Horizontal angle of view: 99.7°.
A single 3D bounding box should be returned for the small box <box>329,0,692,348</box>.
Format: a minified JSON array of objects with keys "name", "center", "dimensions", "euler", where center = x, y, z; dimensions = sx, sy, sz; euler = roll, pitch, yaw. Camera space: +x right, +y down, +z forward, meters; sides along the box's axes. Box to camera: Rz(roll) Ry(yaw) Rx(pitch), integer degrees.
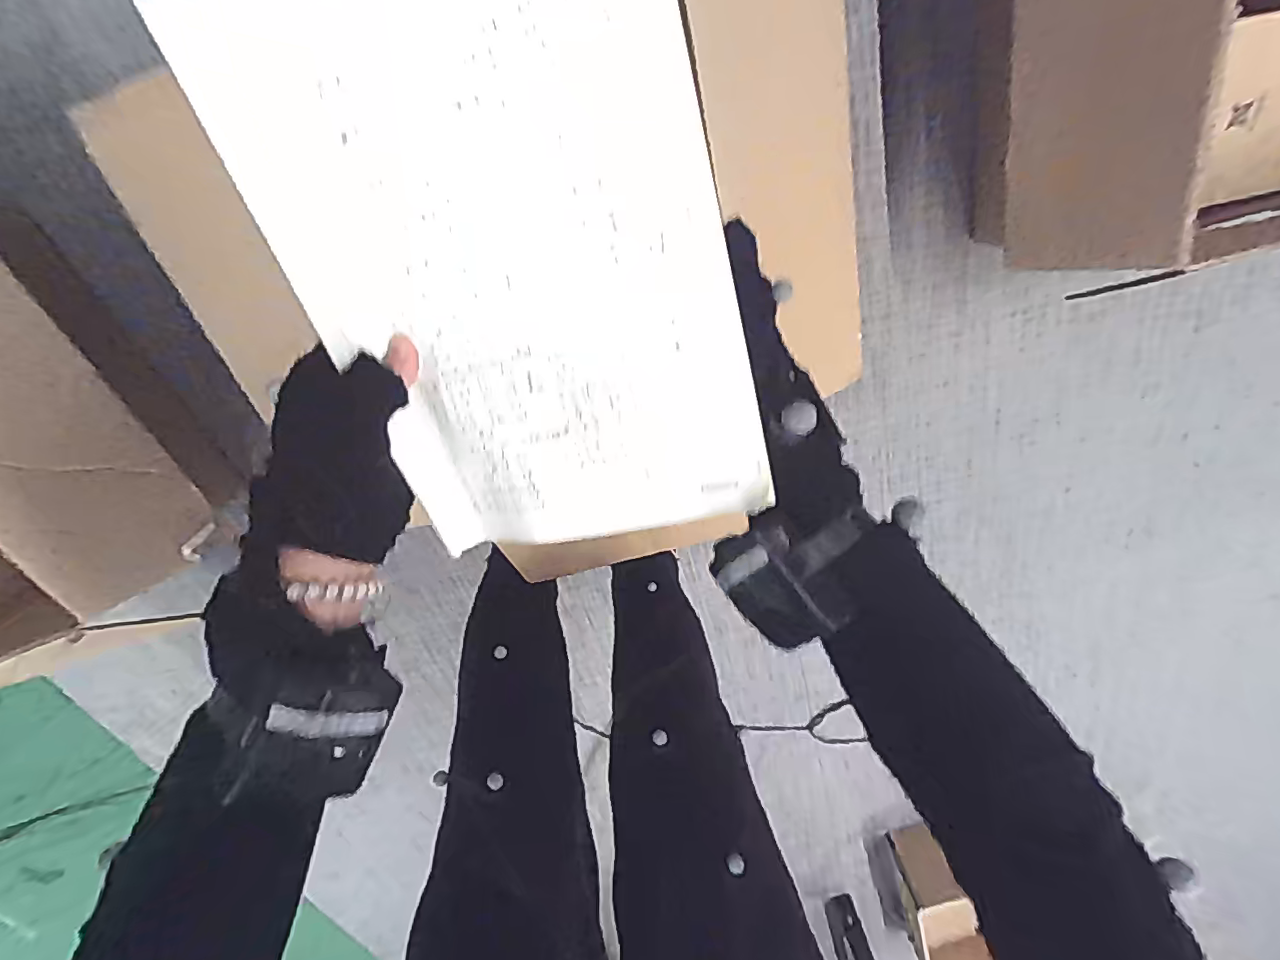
[{"name":"small box","center":[-0.073,-0.183,0.356],"dimensions":[0.168,0.176,0.179],"euler":[-10,102,-11]}]
